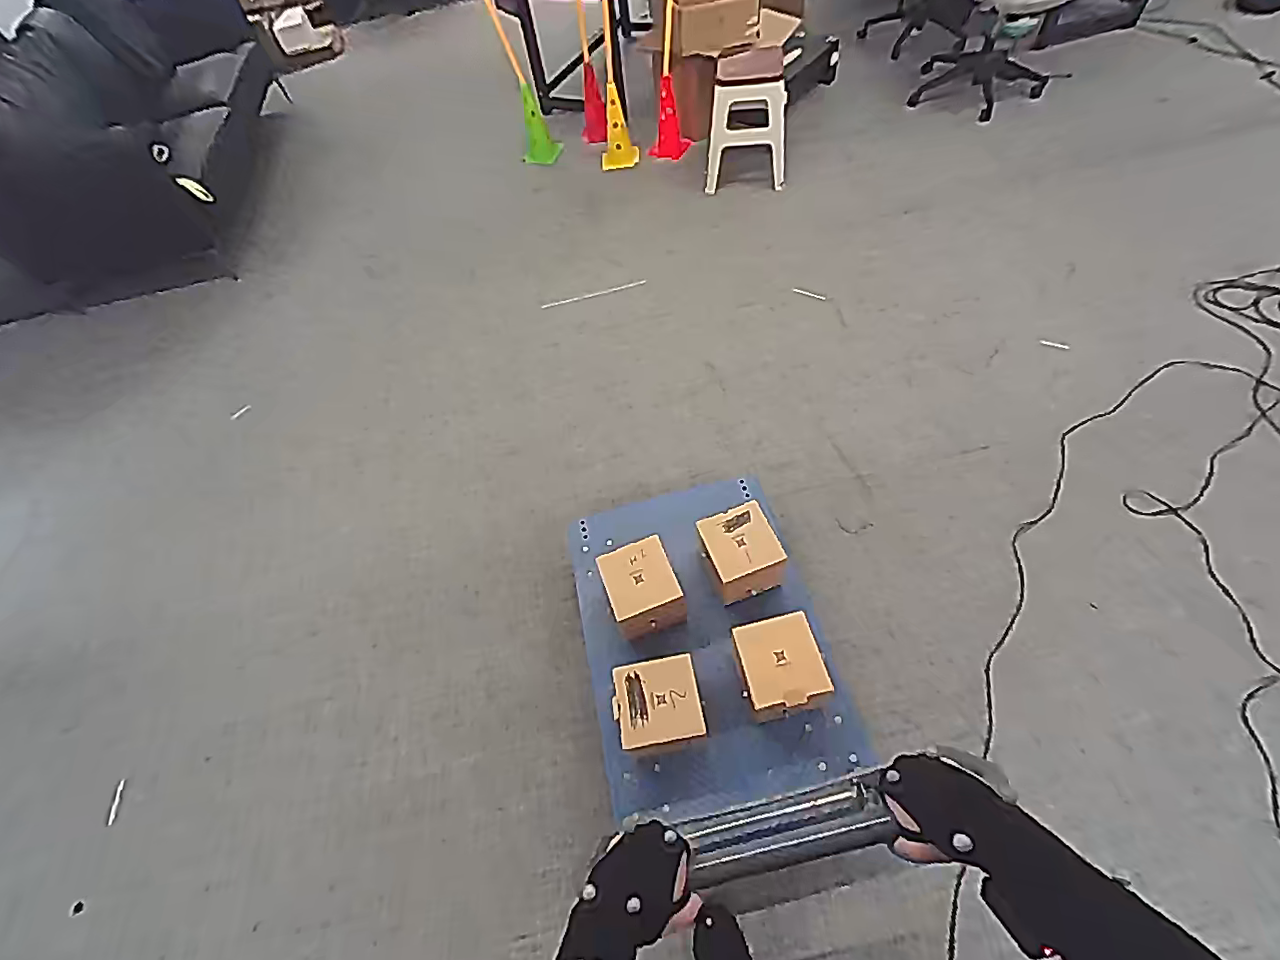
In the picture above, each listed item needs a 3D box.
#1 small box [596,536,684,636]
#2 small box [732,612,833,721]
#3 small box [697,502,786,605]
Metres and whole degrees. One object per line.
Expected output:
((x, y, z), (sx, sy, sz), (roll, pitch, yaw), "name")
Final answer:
((0.004, 0.273, 1.352), (0.168, 0.176, 0.179), (-20, 57, -6), "small box")
((0.308, 0.422, 1.215), (0.168, 0.176, 0.179), (-14, 58, -1), "small box")
((0.250, 0.189, 1.372), (0.168, 0.176, 0.179), (-20, 58, -4), "small box")
